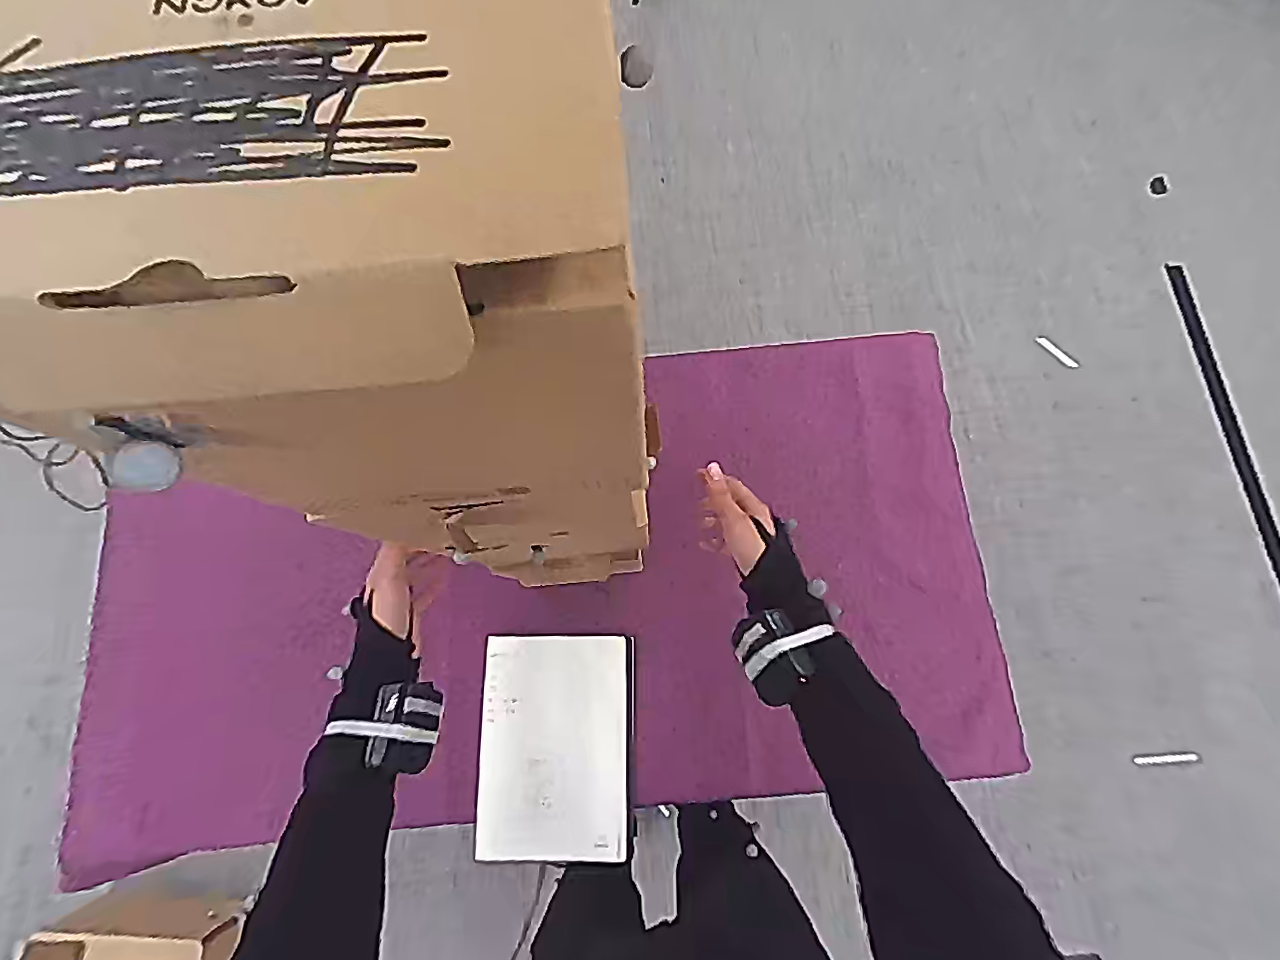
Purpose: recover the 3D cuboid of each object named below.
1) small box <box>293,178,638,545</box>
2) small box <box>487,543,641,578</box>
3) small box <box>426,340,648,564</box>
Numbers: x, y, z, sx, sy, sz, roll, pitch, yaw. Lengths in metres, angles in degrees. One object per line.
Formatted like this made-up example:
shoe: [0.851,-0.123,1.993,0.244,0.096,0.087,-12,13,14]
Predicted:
small box: [-0.092,-0.055,0.356,0.168,0.176,0.179,-7,75,-1]
small box: [-0.086,0.030,0.674,0.168,0.176,0.179,-4,76,0]
small box: [-0.086,-0.014,0.515,0.179,0.176,0.168,-6,77,-1]
